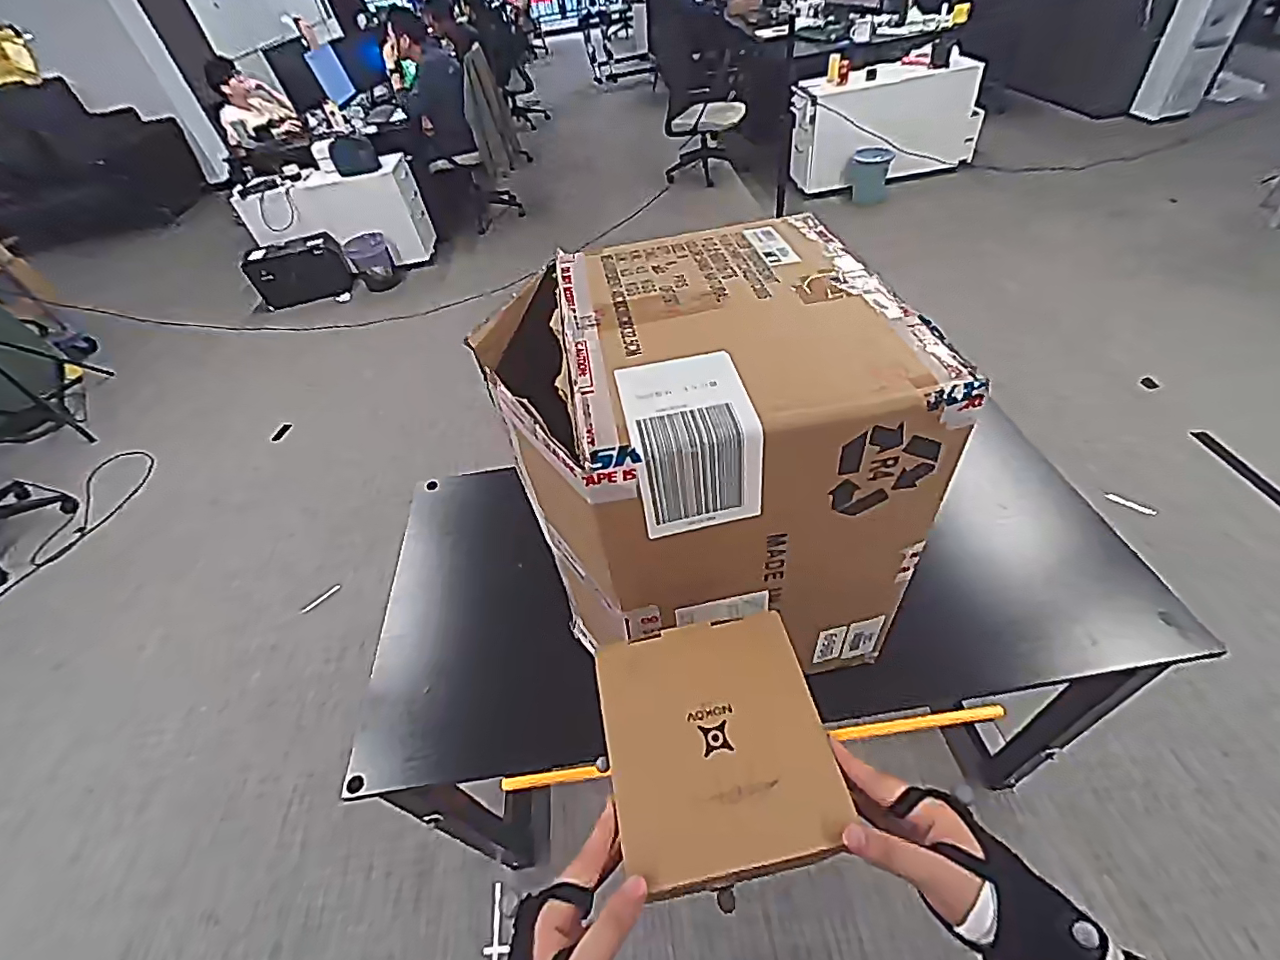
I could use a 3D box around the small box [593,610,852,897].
[{"bbox_3d":[0.057,0.244,0.480,0.168,0.176,0.179,-11,51,-3],"label":"small box"}]
